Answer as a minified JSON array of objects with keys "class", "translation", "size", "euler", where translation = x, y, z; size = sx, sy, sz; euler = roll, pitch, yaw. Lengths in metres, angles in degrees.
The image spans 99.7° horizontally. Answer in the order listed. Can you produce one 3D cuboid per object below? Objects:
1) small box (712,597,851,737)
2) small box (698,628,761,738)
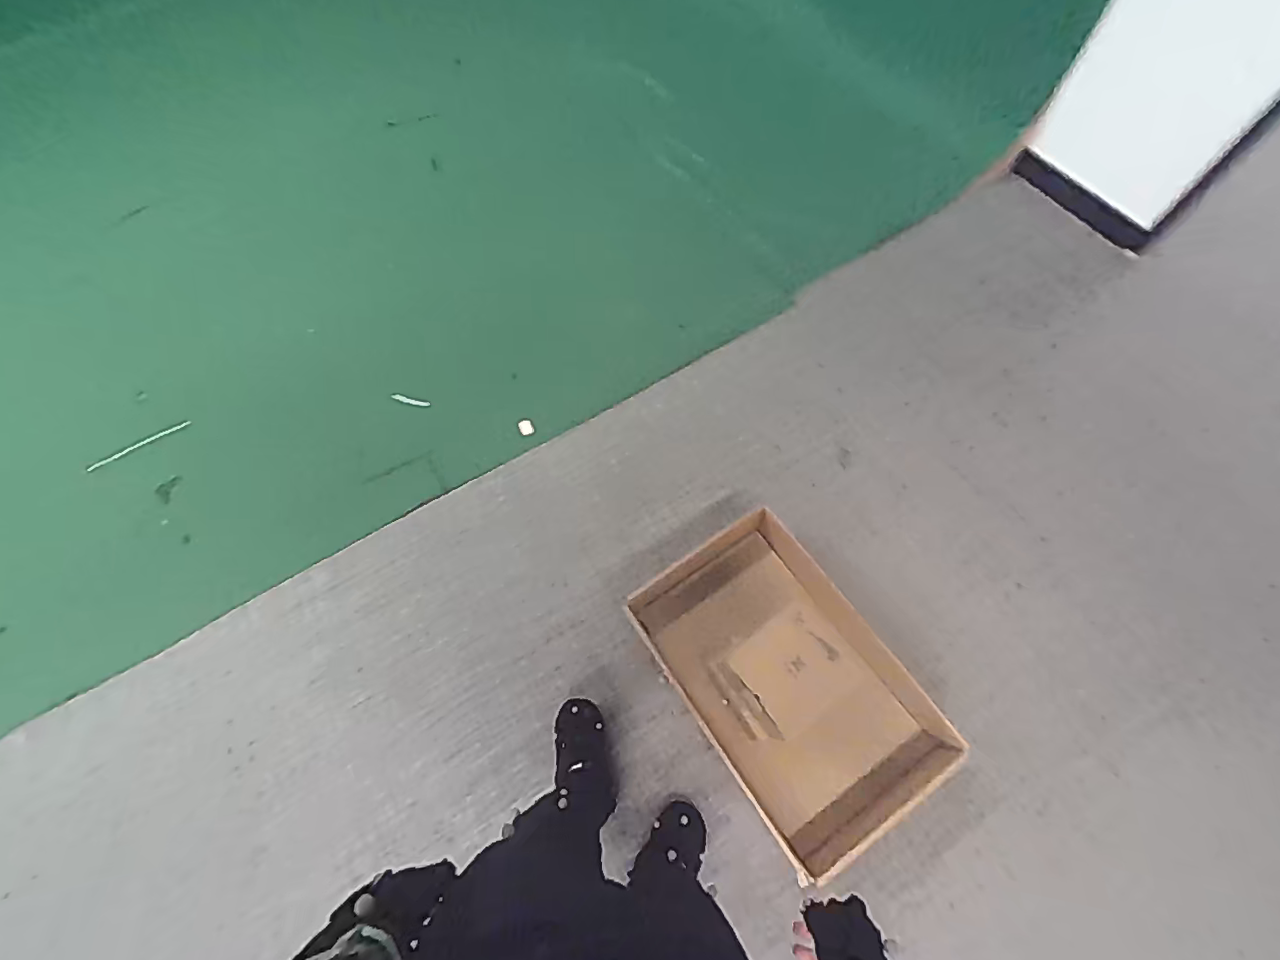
[{"class":"small box","translation":[0.249,0.347,0.996],"size":[0.179,0.176,0.168],"euler":[-34,69,-11]},{"class":"small box","translation":[0.238,0.424,1.158],"size":[0.168,0.176,0.179],"euler":[-30,67,-11]}]
